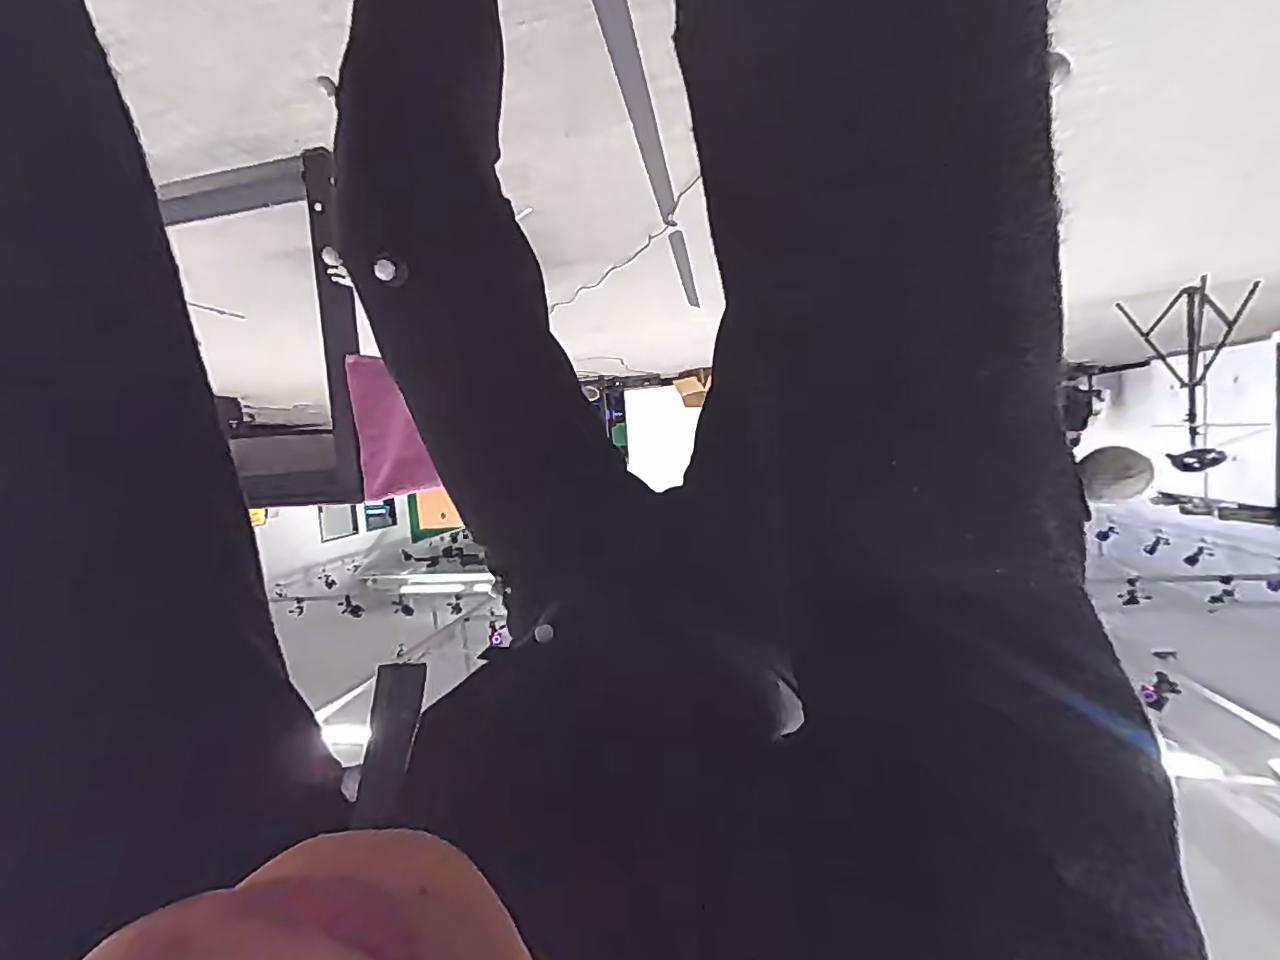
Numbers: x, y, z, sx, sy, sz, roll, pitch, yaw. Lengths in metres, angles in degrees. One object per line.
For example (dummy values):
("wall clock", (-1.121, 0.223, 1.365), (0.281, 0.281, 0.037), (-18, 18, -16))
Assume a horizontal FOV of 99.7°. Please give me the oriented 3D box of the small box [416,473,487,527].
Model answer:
("small box", (-0.672, 0.065, 1.928), (0.179, 0.176, 0.168), (-4, -176, 12))
